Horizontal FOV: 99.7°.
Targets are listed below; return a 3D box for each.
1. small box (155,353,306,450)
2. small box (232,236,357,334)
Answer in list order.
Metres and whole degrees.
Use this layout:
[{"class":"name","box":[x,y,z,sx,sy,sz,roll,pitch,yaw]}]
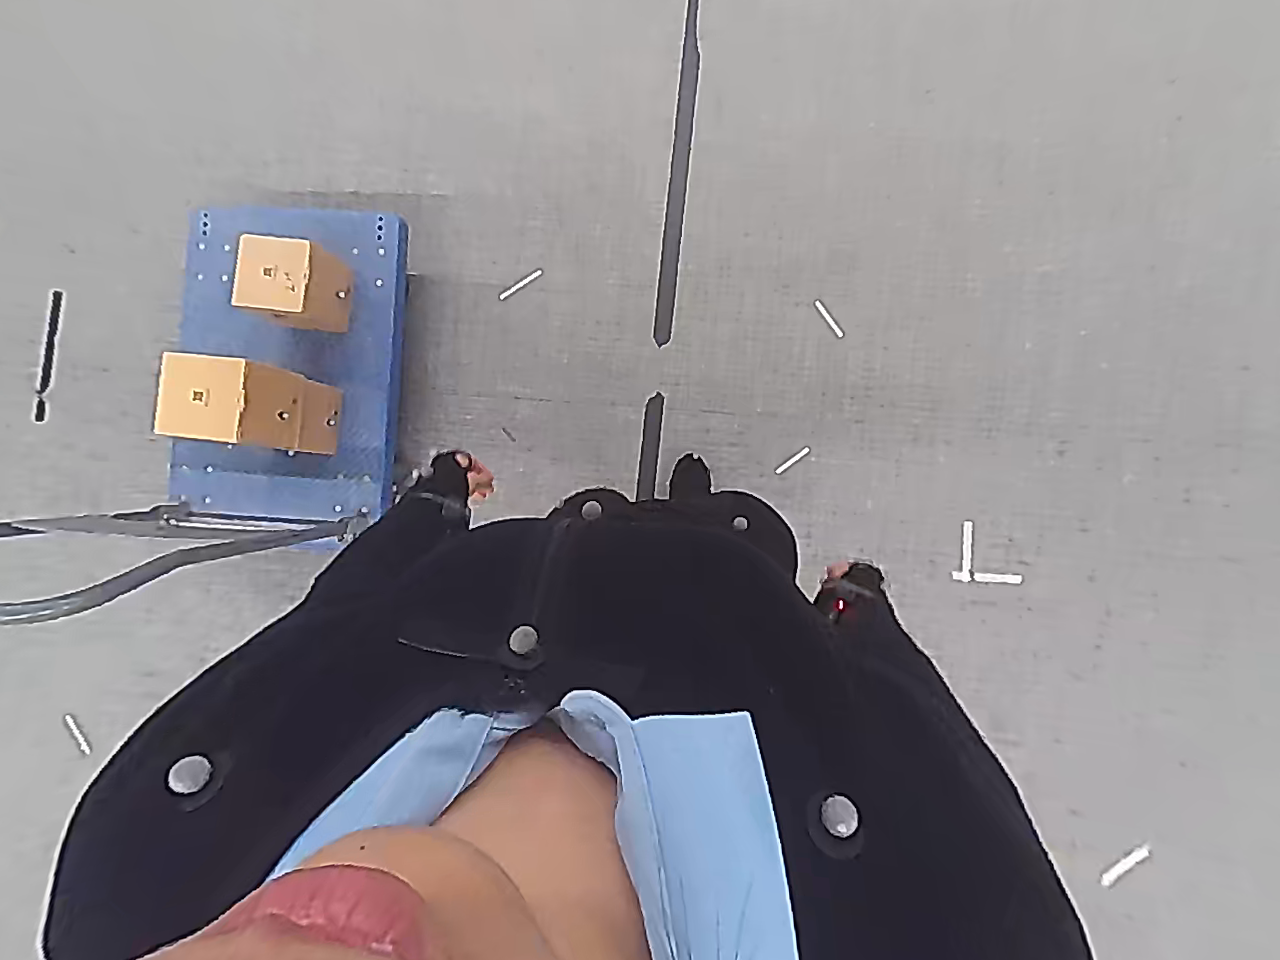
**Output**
[{"class":"small box","box":[-0.841,-0.155,1.123,0.179,0.176,0.168,5,89,3]},{"class":"small box","box":[-0.818,-0.458,1.292,0.179,0.176,0.168,8,90,4]}]
